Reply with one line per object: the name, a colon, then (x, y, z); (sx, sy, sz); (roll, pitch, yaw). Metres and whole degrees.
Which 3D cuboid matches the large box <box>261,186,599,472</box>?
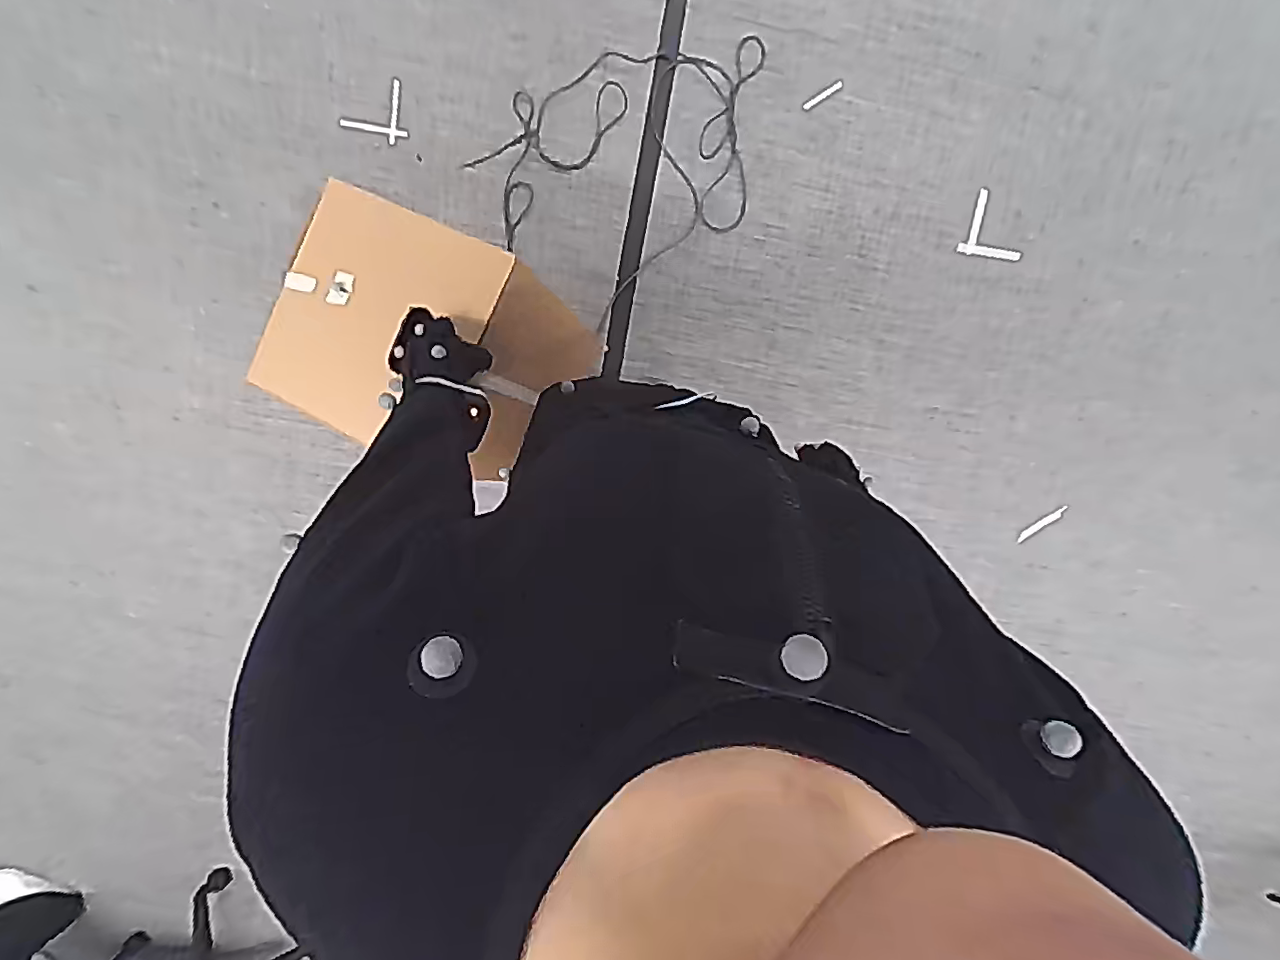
large box: (-0.320, -0.218, 0.930); (0.320, 0.408, 0.320); (28, 95, 11)
